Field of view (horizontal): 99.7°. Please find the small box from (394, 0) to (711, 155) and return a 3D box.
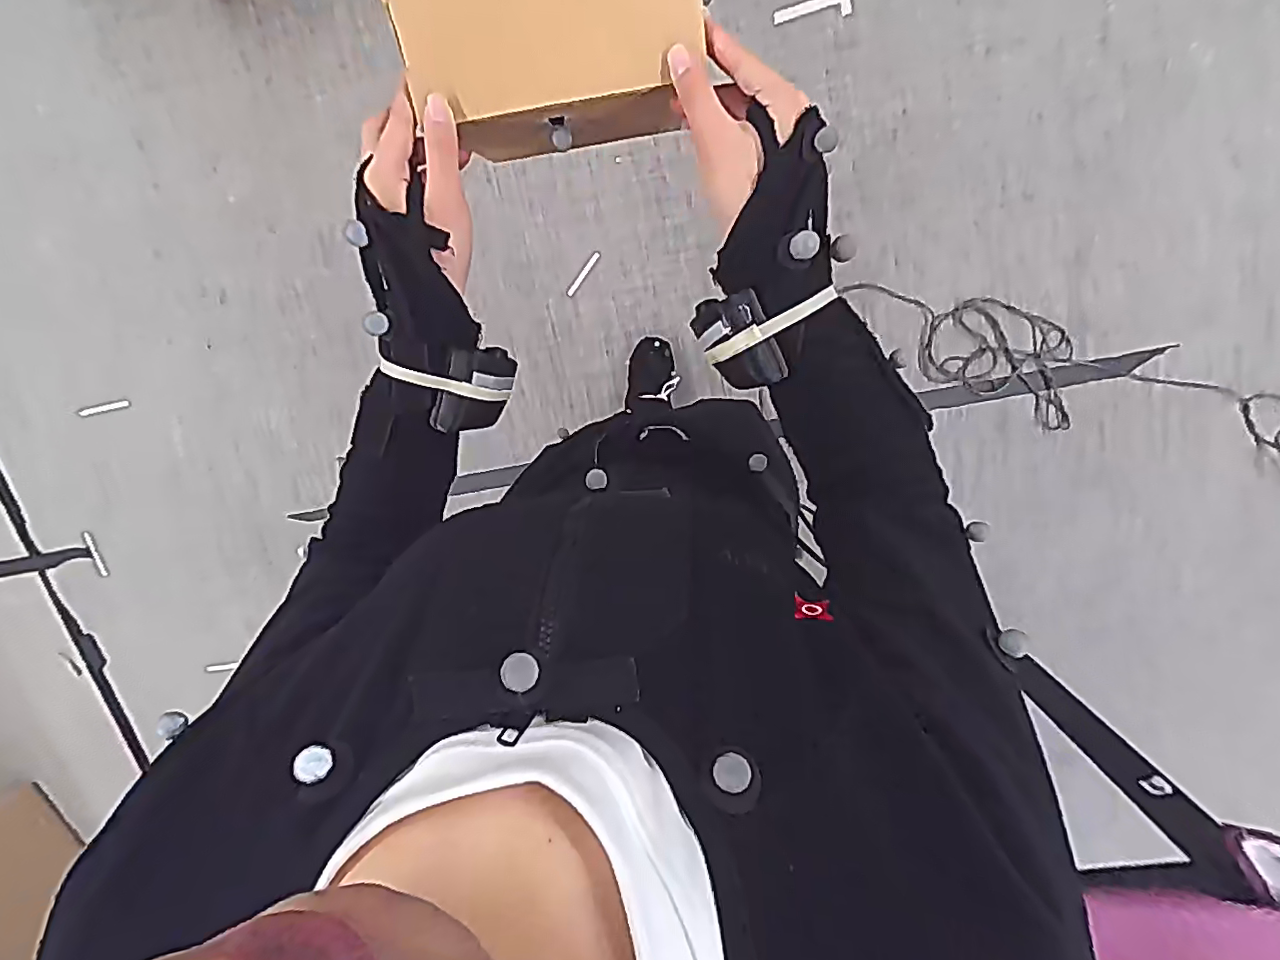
[{"bbox_3d":[-0.054,-0.330,0.359,0.179,0.176,0.168,-7,114,5],"label":"small box"}]
